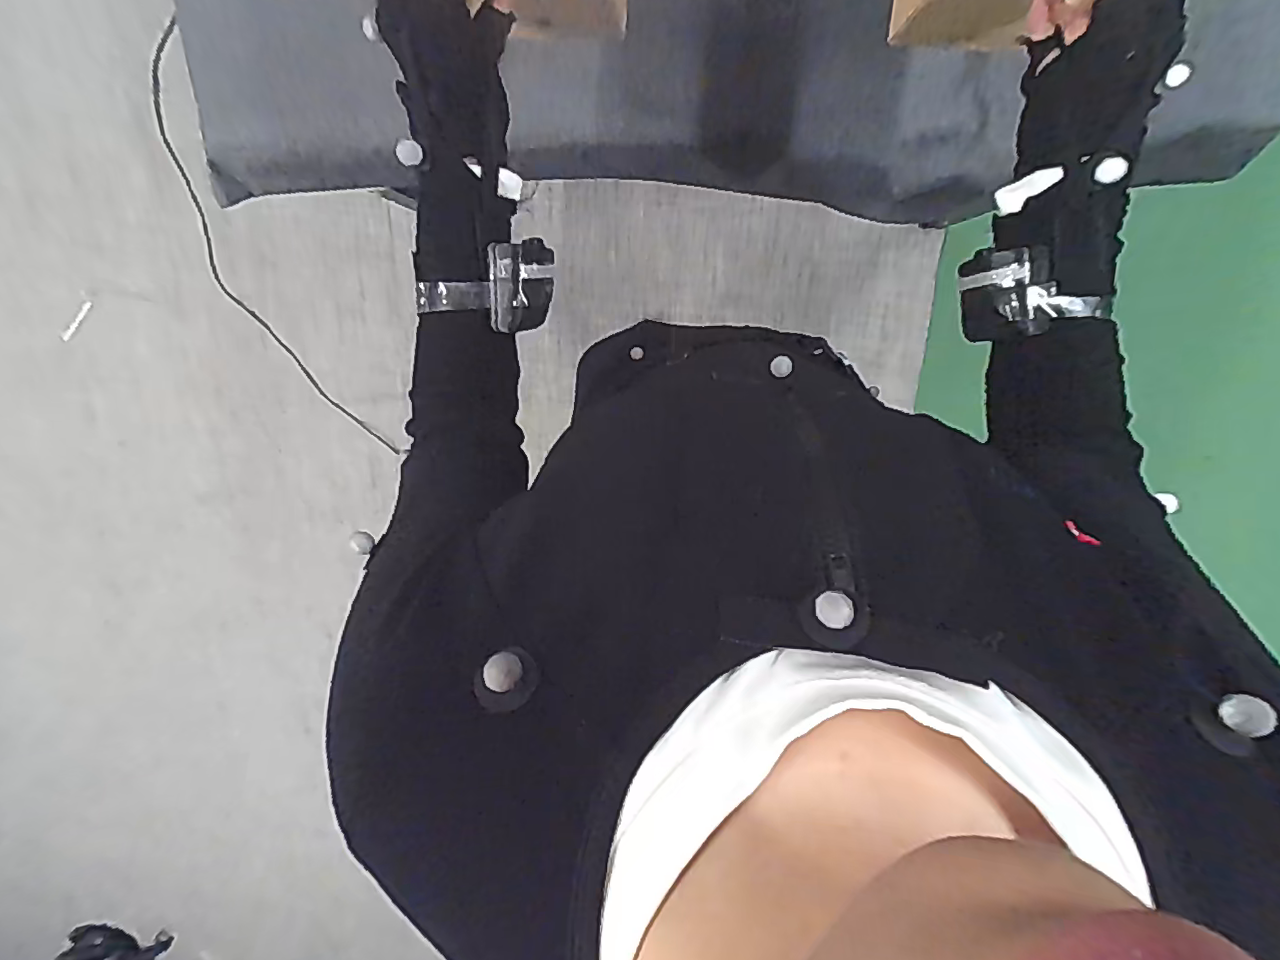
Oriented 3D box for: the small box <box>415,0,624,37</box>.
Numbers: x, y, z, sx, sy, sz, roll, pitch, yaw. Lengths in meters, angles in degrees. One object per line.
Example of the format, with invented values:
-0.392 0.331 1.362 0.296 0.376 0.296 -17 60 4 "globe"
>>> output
-0.096 -0.427 0.347 0.168 0.176 0.179 5 105 3 "small box"
